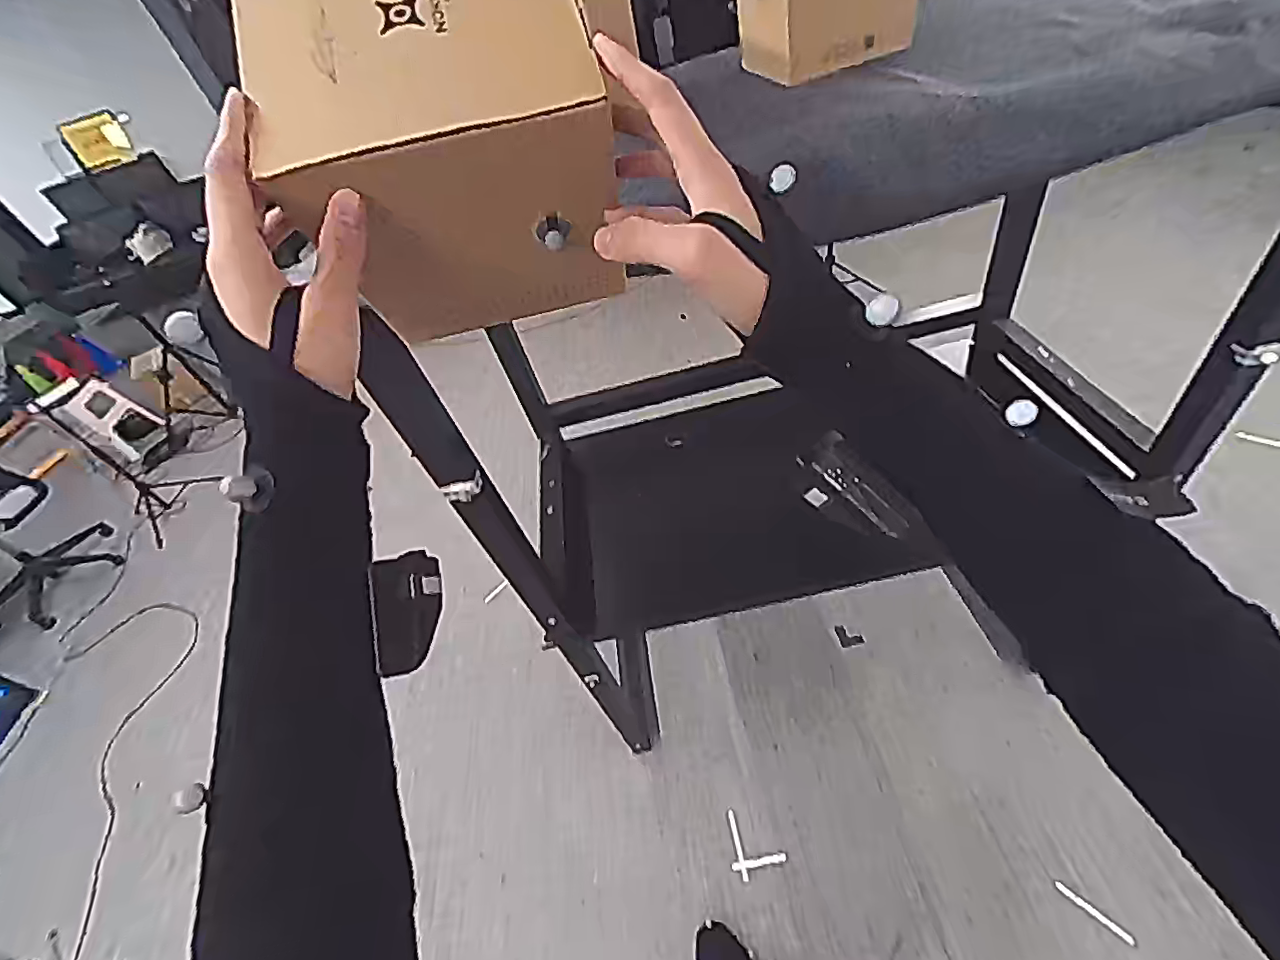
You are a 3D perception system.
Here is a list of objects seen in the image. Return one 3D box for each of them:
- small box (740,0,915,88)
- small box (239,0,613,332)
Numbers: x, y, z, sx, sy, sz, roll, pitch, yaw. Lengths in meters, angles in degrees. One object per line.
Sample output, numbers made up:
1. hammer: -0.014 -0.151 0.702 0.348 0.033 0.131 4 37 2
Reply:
1. small box: 0.229 -0.624 0.686 0.168 0.176 0.179 -18 44 0
2. small box: -0.118 -0.224 0.357 0.179 0.176 0.168 -14 76 -3
